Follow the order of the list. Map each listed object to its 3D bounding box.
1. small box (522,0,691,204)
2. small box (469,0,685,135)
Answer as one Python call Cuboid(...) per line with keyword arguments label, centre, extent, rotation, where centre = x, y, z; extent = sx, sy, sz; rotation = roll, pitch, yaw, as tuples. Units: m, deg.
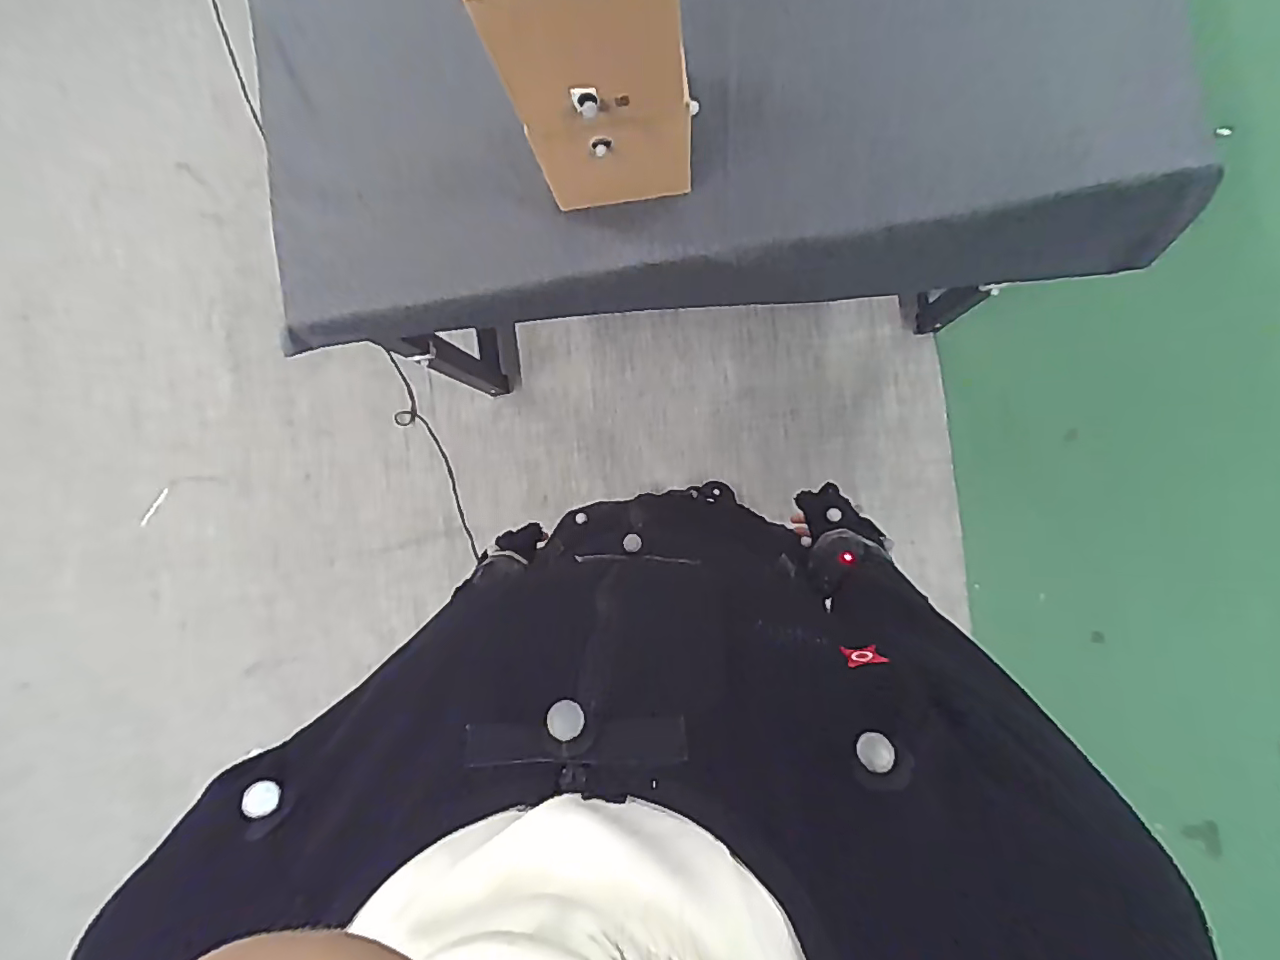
Cuboid(label="small box", centre=(-0.033, -0.453, 0.641), extent=(0.179, 0.176, 0.168), rotation=(-4, 88, 6))
Cuboid(label="small box", centre=(-0.051, -0.455, 0.481), extent=(0.168, 0.176, 0.179), rotation=(-6, 89, 8))
